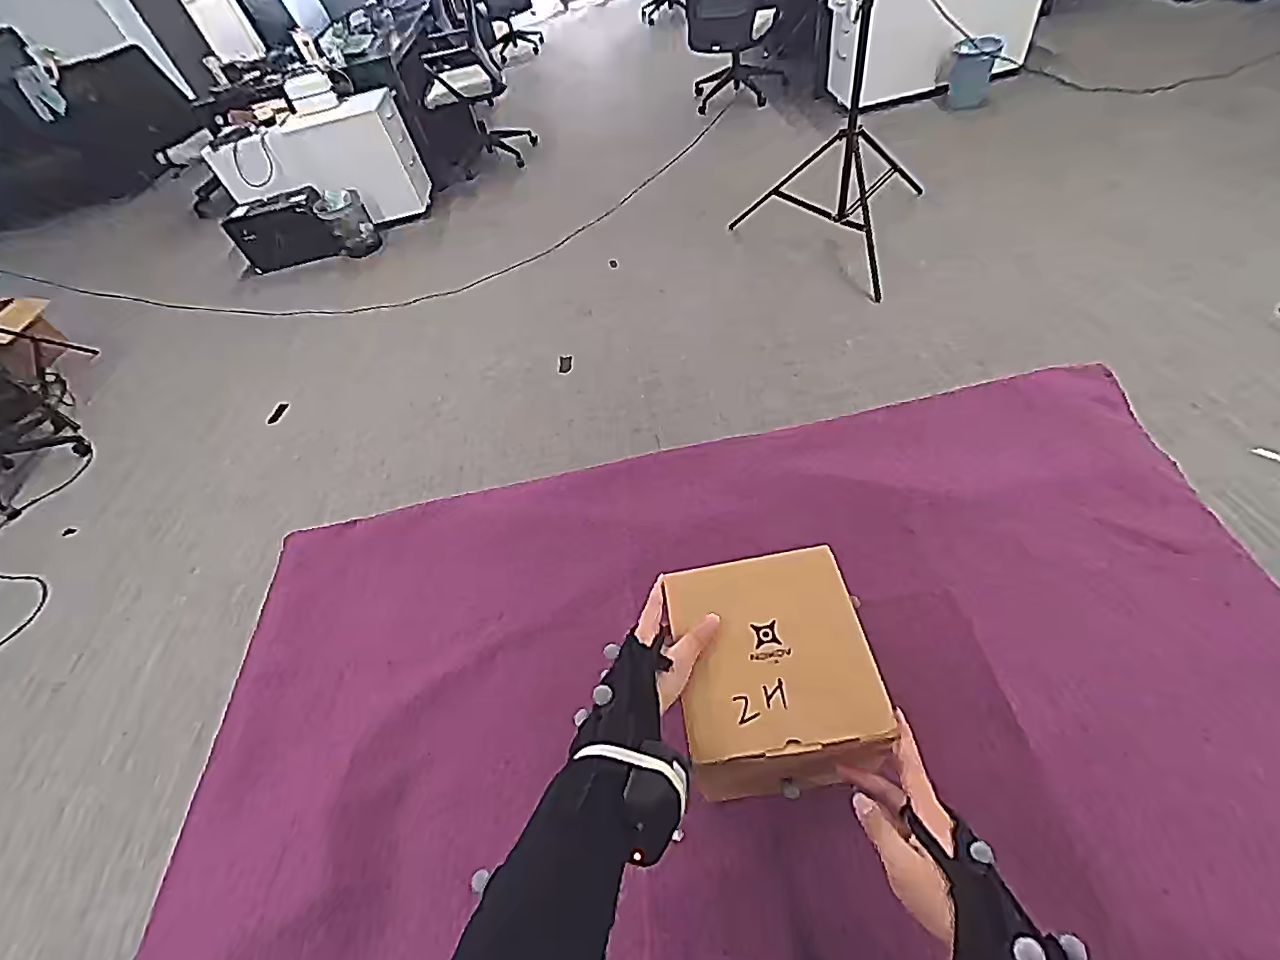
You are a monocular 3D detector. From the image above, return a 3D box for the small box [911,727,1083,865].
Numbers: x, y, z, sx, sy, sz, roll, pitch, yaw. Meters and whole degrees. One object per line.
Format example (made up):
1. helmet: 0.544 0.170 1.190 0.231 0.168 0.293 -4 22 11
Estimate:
1. small box: 0.594 0.548 0.930 0.168 0.176 0.179 -12 50 5
